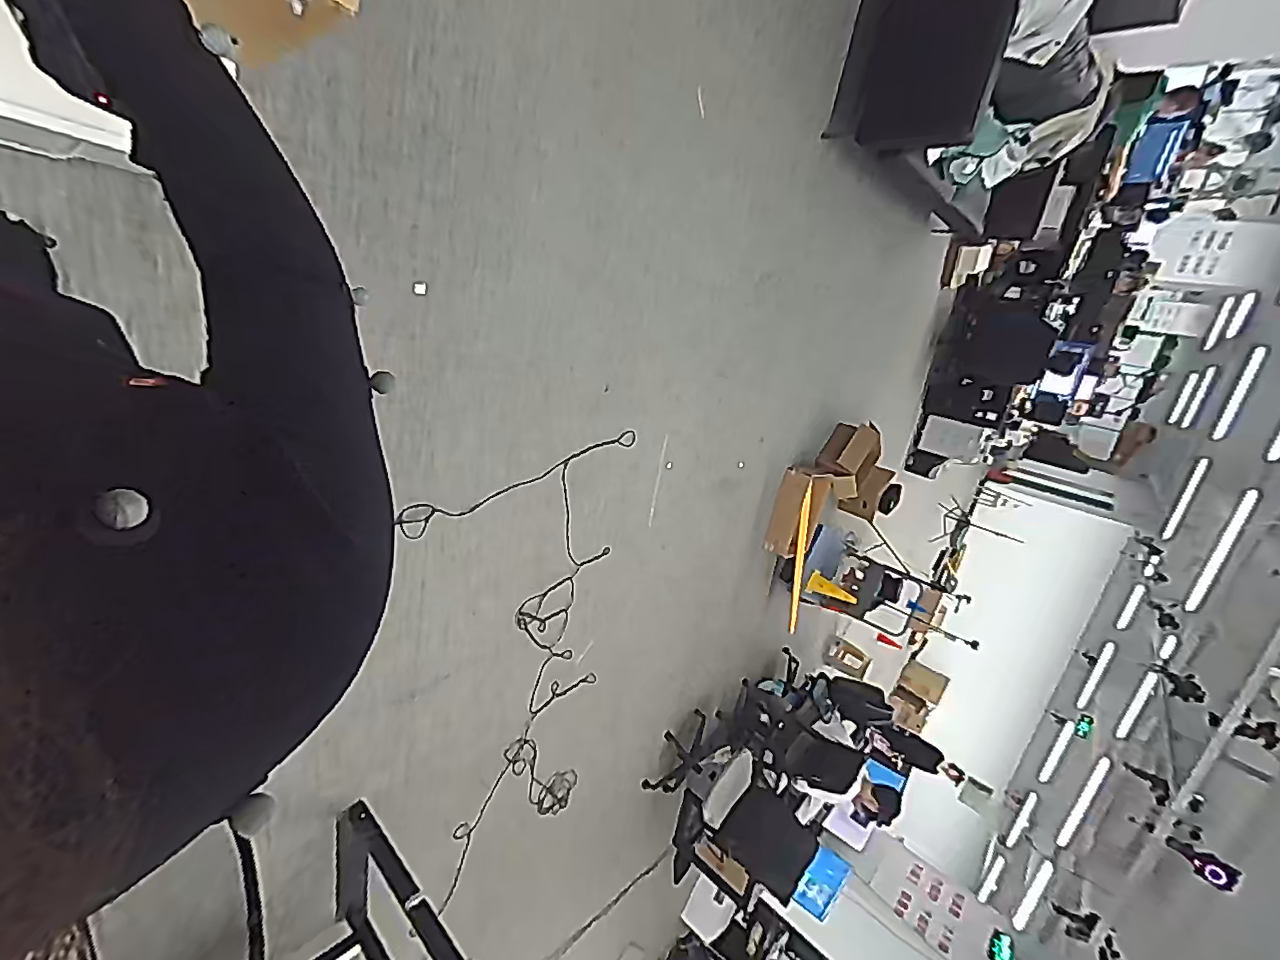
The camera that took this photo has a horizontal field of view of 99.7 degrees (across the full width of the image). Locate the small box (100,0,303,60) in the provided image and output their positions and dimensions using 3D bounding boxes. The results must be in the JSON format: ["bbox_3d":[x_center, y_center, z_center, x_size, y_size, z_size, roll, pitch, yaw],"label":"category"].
[{"bbox_3d":[-0.458,-0.556,0.537,0.179,0.176,0.168,-4,112,-48],"label":"small box"}]
